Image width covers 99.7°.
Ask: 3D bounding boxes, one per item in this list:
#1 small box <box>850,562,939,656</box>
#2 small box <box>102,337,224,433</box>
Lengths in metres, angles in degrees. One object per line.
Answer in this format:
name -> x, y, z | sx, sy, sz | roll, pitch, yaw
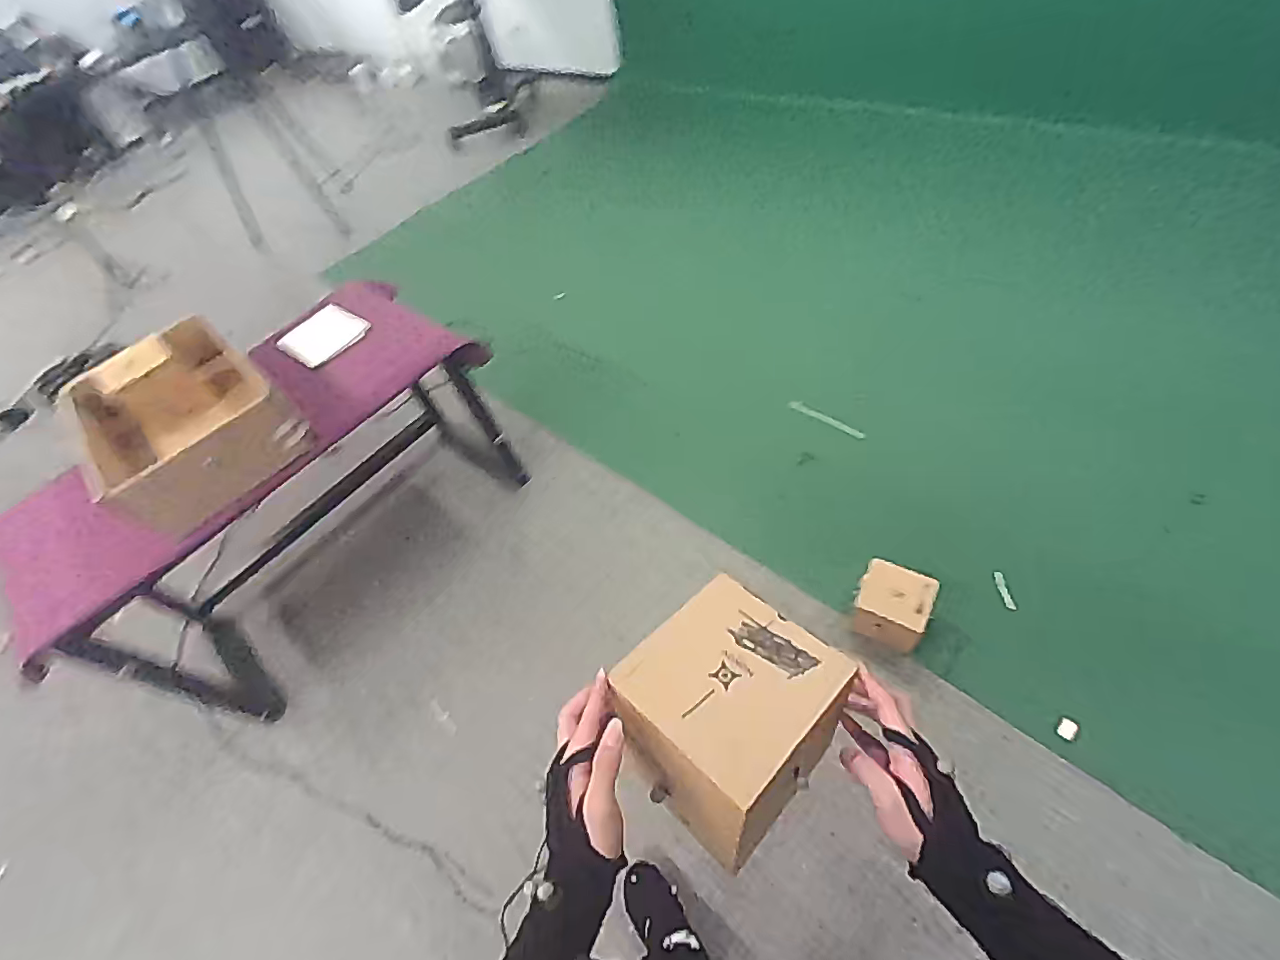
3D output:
small box -> 0.706, 0.366, 1.515 | 0.179, 0.176, 0.168 | 21, 61, 27
small box -> -1.300, -0.257, 1.482 | 0.179, 0.176, 0.168 | 33, 65, 30
